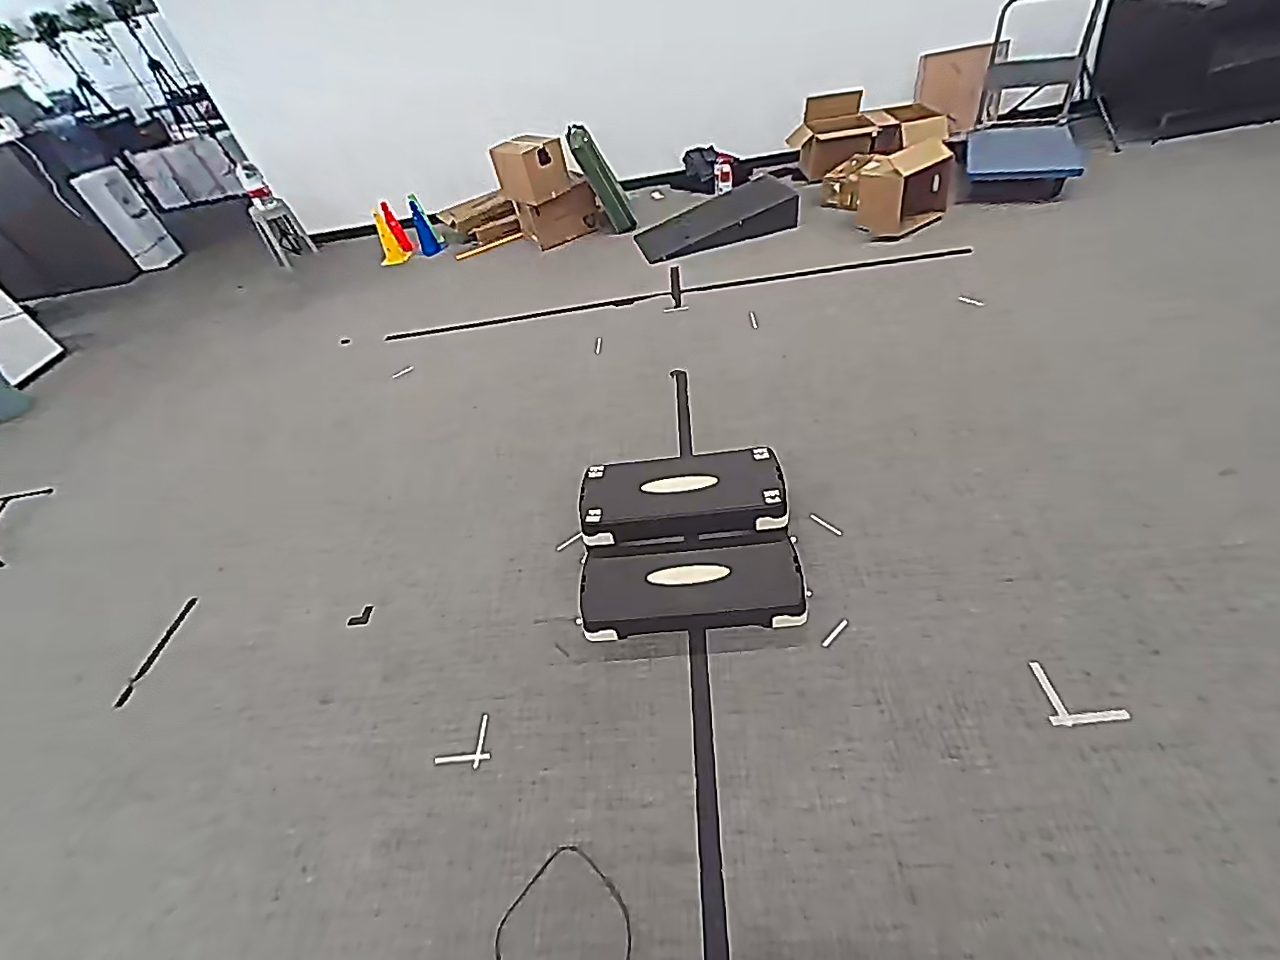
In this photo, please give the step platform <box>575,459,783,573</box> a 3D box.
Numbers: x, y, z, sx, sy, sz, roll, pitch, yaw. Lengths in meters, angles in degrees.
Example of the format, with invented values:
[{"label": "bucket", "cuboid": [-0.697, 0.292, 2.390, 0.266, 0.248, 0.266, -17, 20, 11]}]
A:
[{"label": "step platform", "cuboid": [0.125, 0.116, 1.814, 0.684, 0.204, 0.286, -6, 45, 5]}]
